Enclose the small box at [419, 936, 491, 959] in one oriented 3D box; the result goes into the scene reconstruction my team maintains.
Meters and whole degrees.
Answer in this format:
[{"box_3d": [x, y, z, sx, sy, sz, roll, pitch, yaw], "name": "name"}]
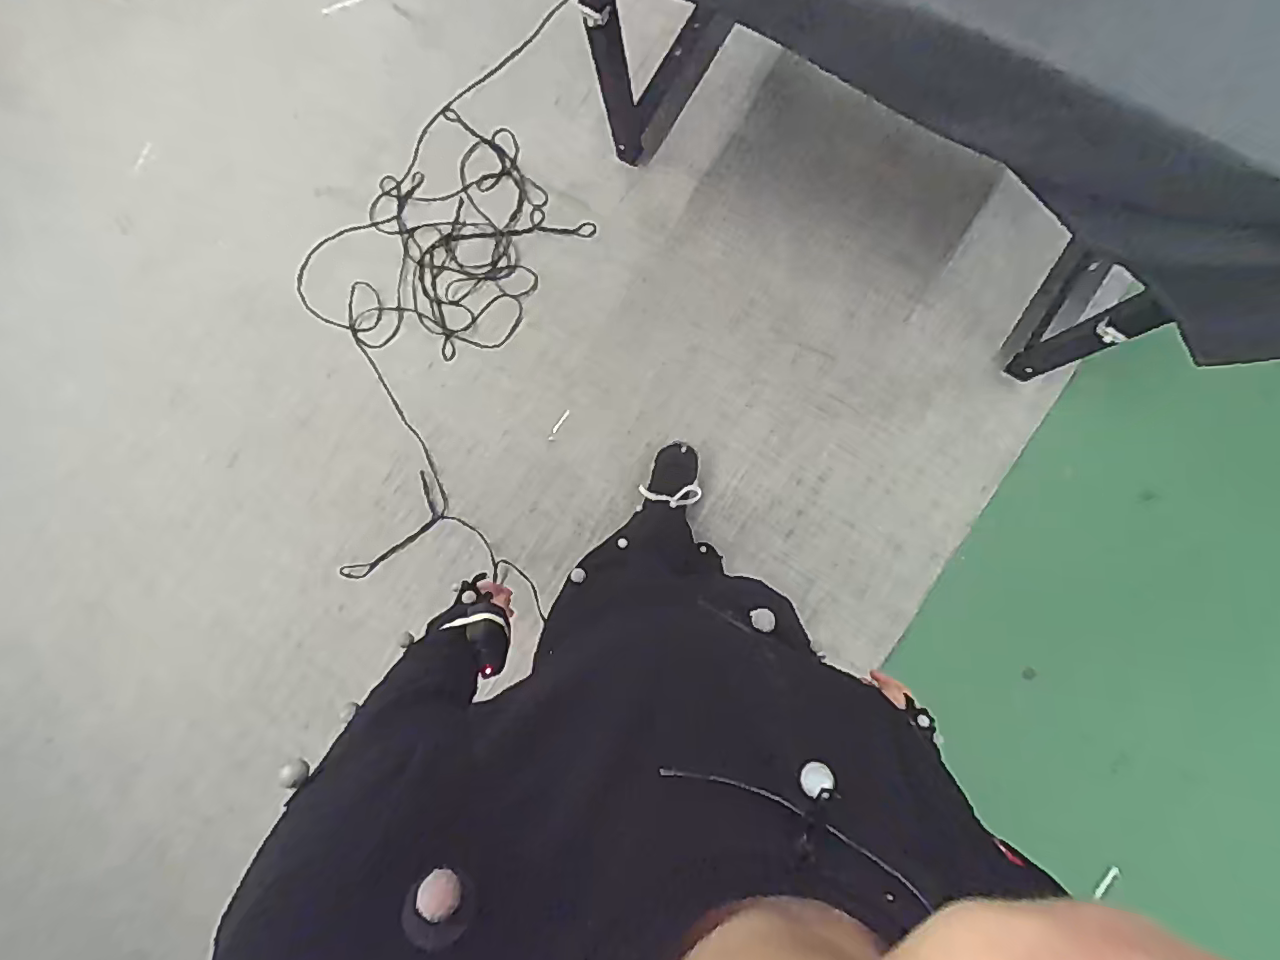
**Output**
[{"box_3d": [-0.457, 1.245, 1.293, 0.168, 0.176, 0.179, -22, 86, 6], "name": "small box"}]
